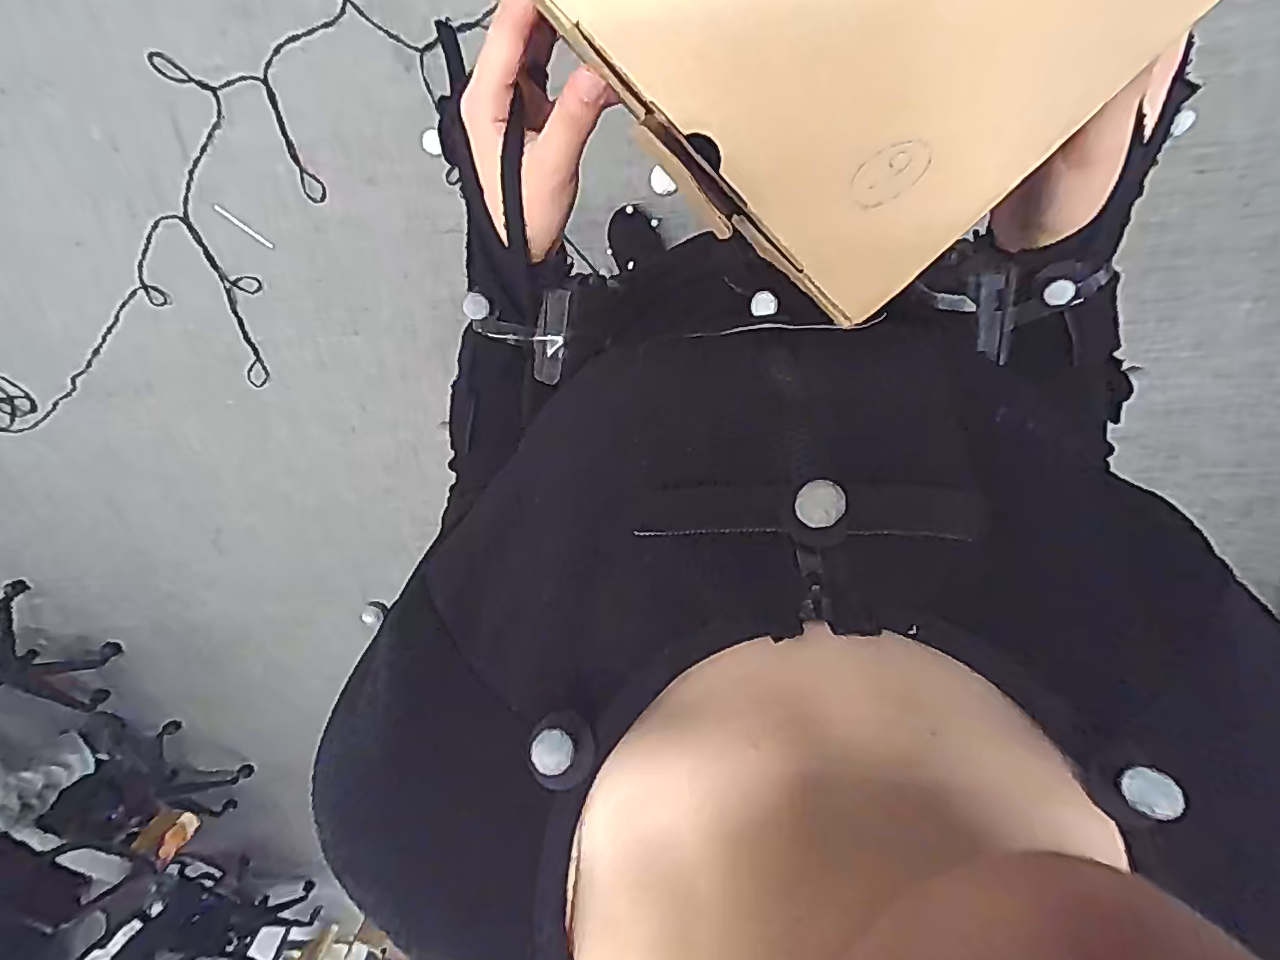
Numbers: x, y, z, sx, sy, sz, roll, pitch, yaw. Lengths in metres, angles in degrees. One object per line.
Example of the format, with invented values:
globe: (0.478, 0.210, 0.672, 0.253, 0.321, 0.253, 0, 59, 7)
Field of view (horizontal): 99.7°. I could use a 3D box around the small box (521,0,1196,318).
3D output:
small box: (0.074, -0.202, 0.217, 0.168, 0.176, 0.179, 38, 115, -20)
